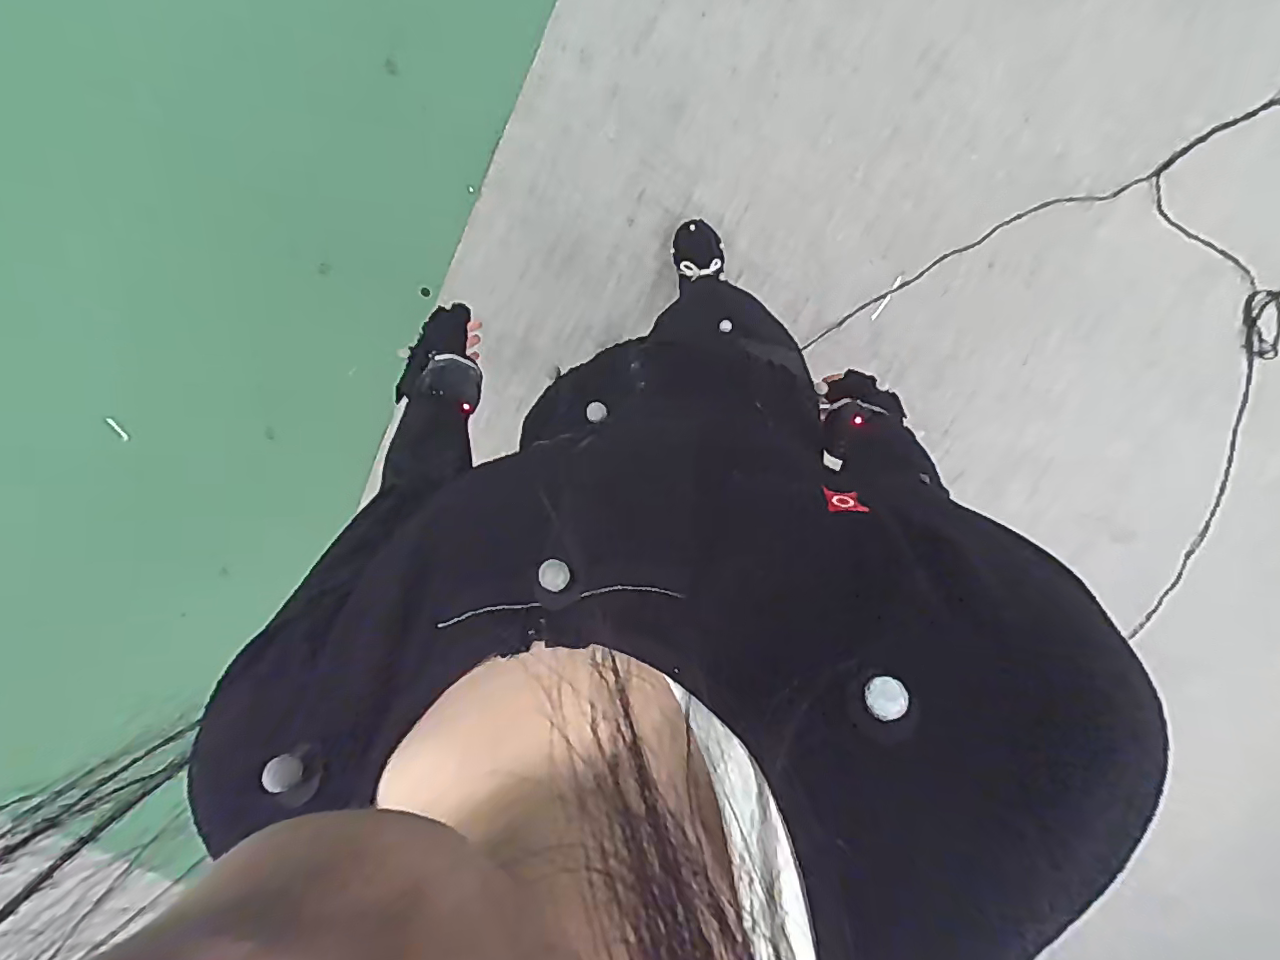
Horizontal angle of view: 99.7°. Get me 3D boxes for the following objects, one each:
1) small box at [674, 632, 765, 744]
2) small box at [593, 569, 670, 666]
[{"bbox_3d":[0.201,0.537,1.411,0.168,0.176,0.179,27,107,-7],"label":"small box"},{"bbox_3d":[-0.018,0.389,1.548,0.168,0.176,0.179,23,107,-4],"label":"small box"}]
